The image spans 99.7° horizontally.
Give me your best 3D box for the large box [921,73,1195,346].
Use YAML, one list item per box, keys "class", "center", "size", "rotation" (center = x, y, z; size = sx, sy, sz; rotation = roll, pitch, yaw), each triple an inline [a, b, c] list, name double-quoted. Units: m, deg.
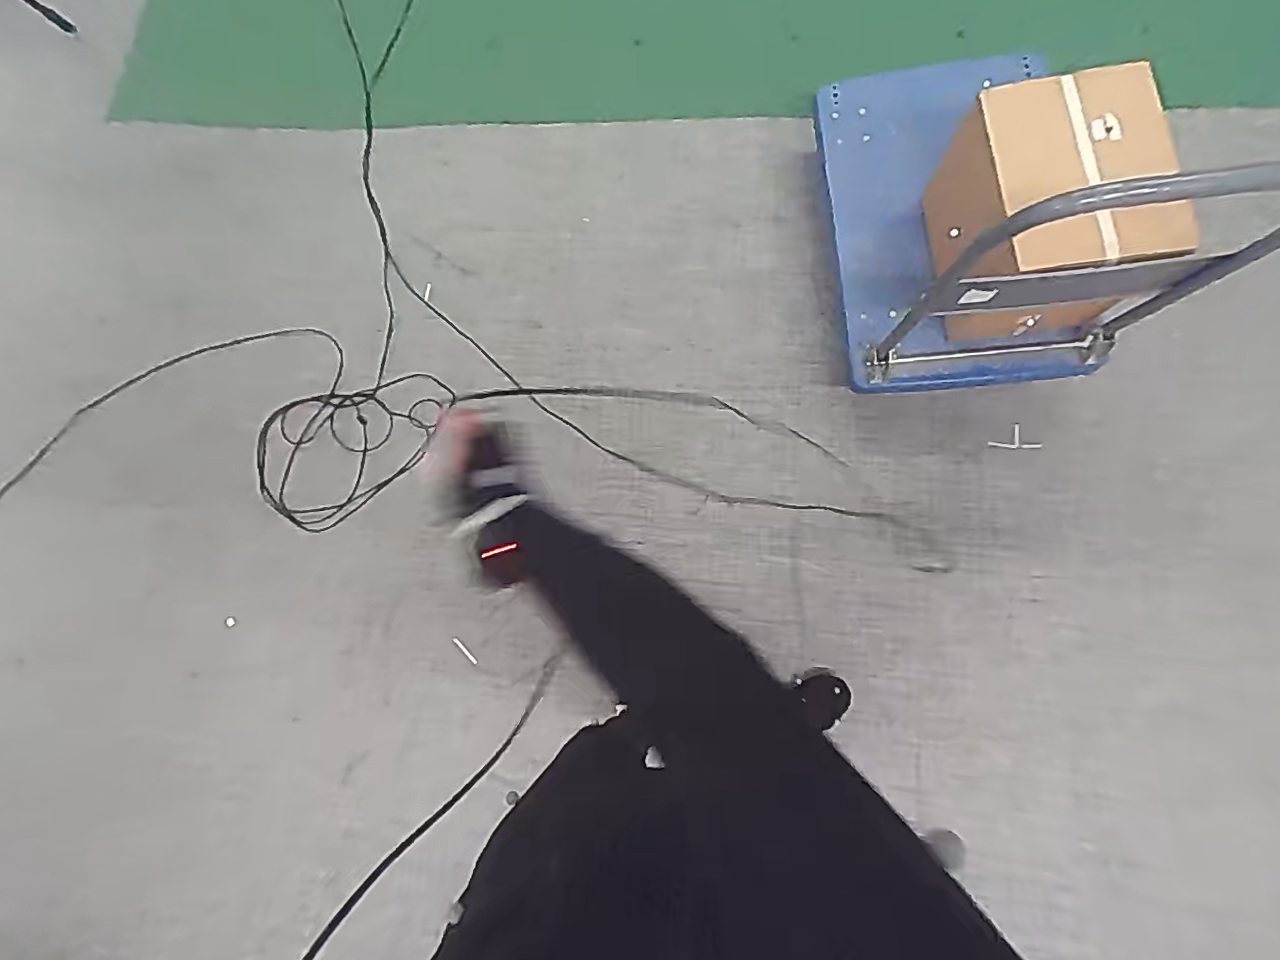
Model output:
- class: "large box"
  center: [0.855, -0.555, 1.174]
  size: [0.320, 0.320, 0.408]
  rotation: [-5, 79, 5]
